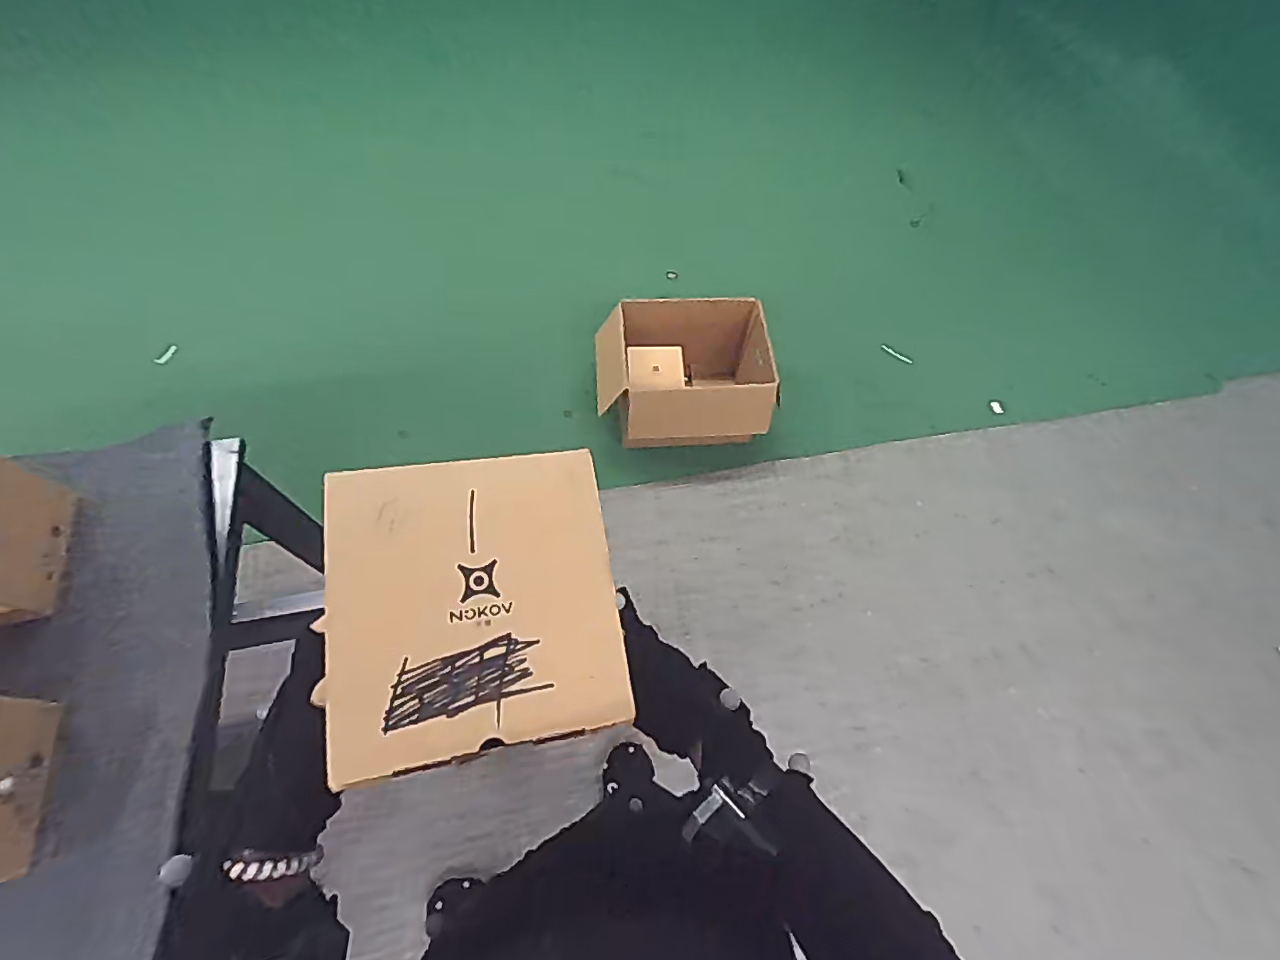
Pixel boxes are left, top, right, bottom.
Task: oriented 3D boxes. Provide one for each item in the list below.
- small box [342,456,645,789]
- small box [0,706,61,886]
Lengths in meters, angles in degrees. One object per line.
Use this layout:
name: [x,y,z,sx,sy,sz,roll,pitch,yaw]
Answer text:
small box: [-0.104,0.098,0.396,0.168,0.176,0.179,-6,71,-15]
small box: [-0.705,0.306,0.484,0.179,0.176,0.168,-10,65,-10]
